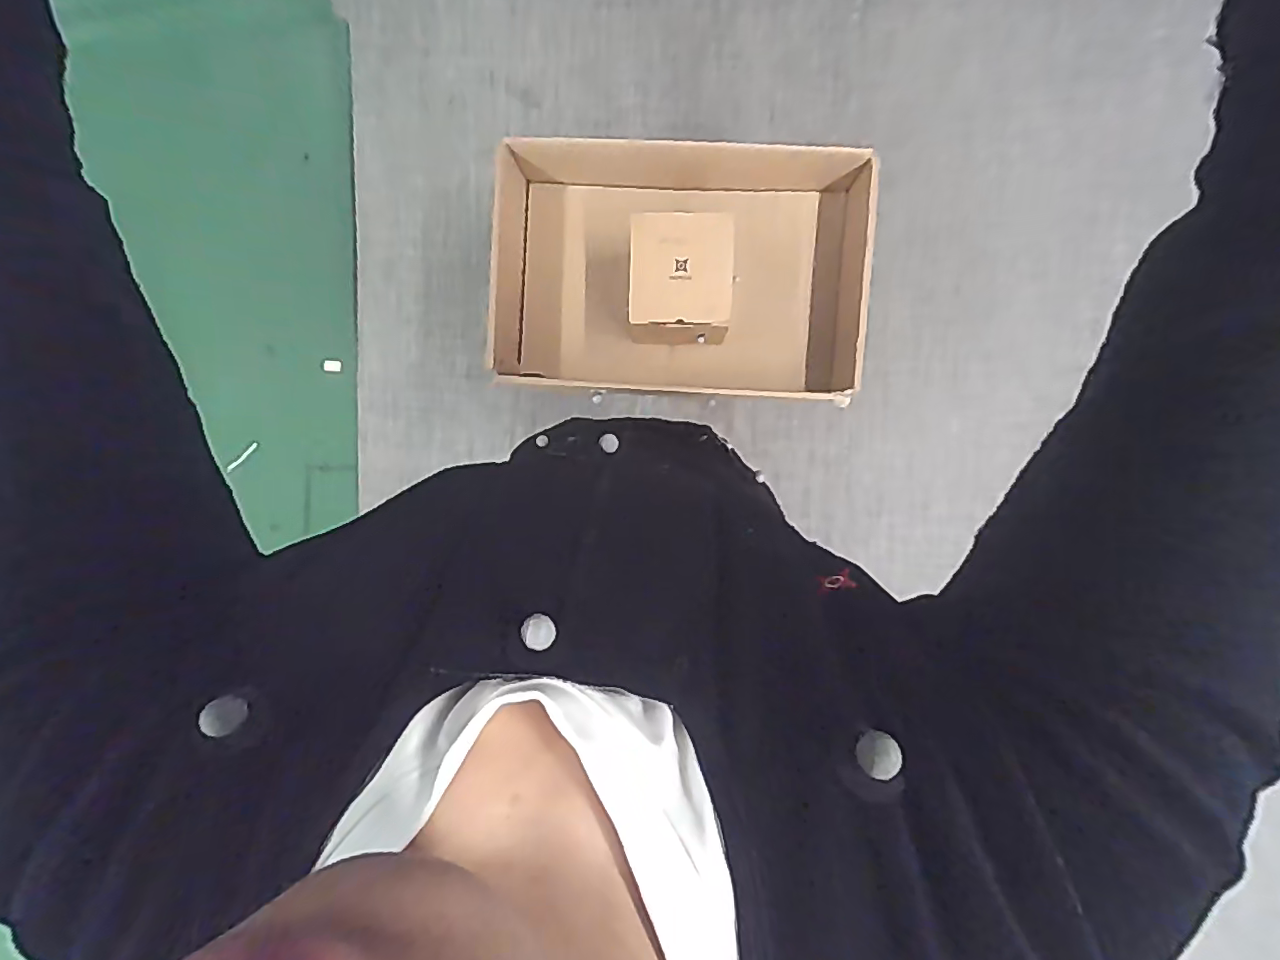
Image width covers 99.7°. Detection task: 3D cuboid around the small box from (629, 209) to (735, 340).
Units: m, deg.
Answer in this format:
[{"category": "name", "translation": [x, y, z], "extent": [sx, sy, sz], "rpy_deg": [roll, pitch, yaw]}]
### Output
[{"category": "small box", "translation": [0.071, -0.345, 0.938], "extent": [0.168, 0.176, 0.179], "rpy_deg": [1, 93, 3]}]
